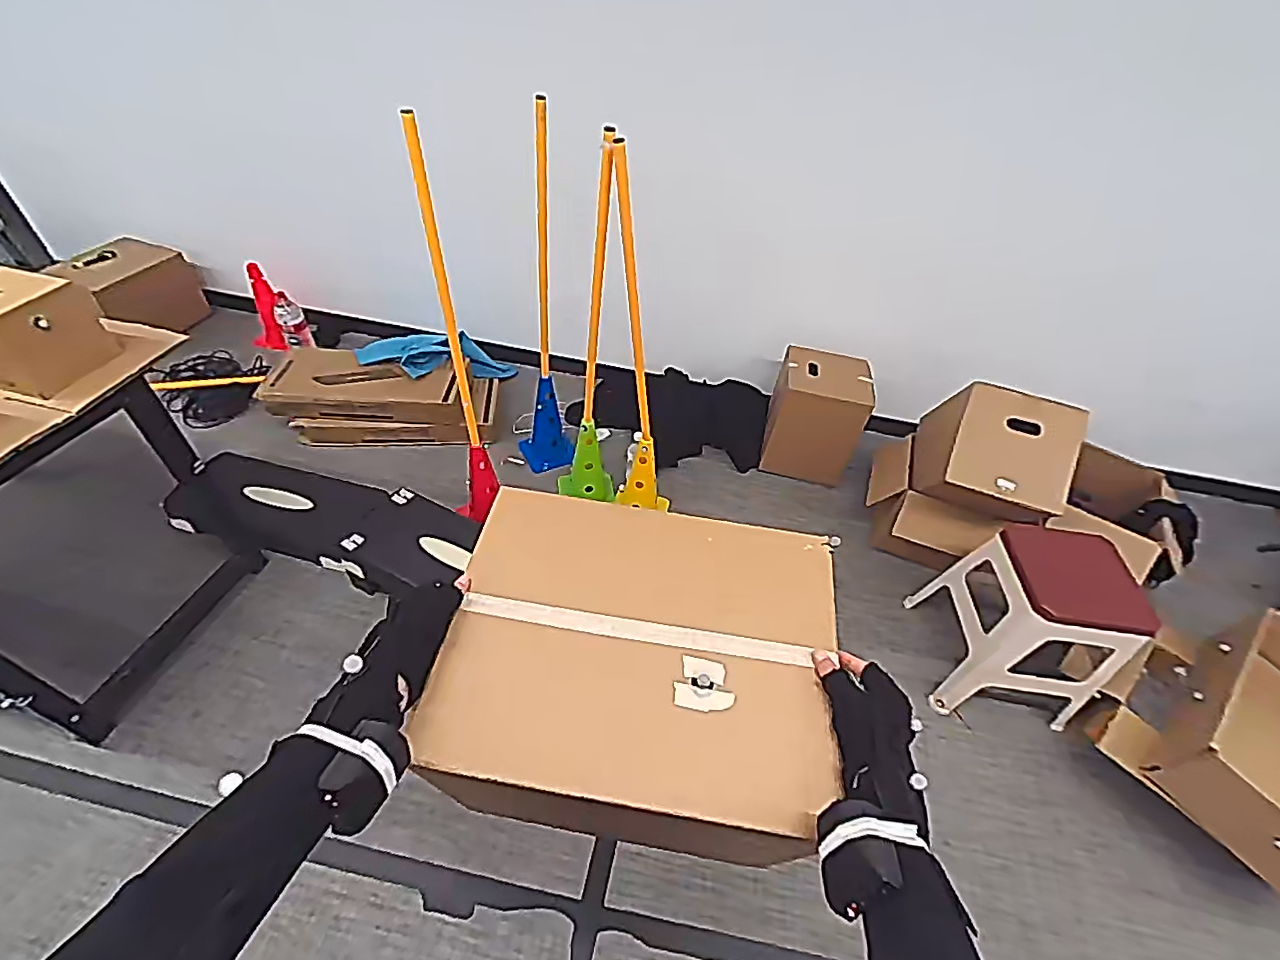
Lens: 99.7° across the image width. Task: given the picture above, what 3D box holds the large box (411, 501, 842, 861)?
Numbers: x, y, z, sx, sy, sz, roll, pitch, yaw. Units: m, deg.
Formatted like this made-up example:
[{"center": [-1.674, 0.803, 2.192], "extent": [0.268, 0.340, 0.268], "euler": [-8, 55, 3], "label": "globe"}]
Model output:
[{"center": [-0.006, 0.261, 0.693], "extent": [0.408, 0.320, 0.320], "euler": [9, 52, 3], "label": "large box"}]
